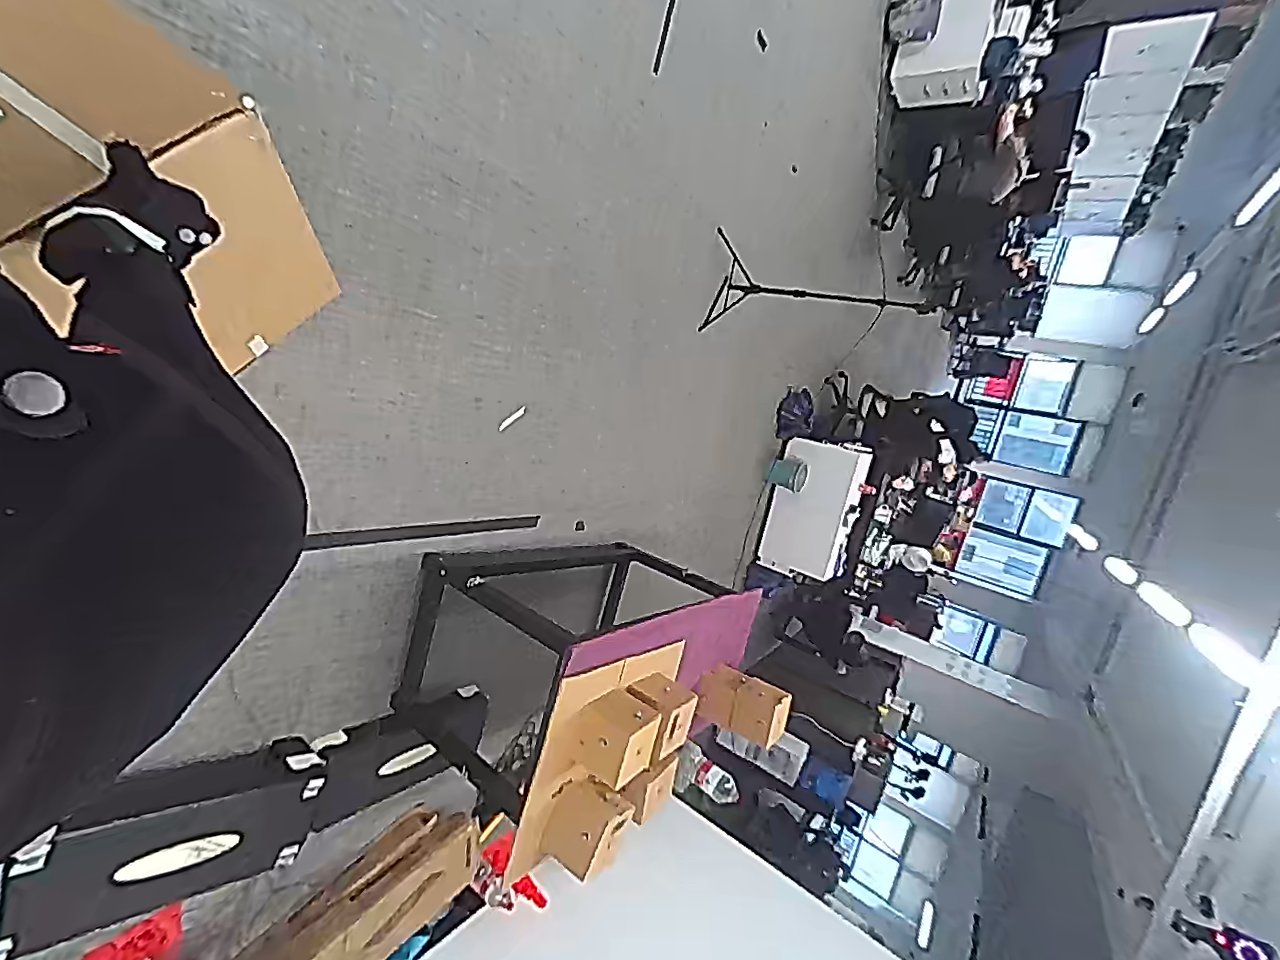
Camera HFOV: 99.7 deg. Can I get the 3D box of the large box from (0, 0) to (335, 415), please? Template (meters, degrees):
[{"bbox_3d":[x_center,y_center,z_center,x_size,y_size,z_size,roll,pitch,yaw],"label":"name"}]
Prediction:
[{"bbox_3d":[-0.696,-0.359,0.682,0.320,0.408,0.320,-53,179,-22],"label":"large box"}]
